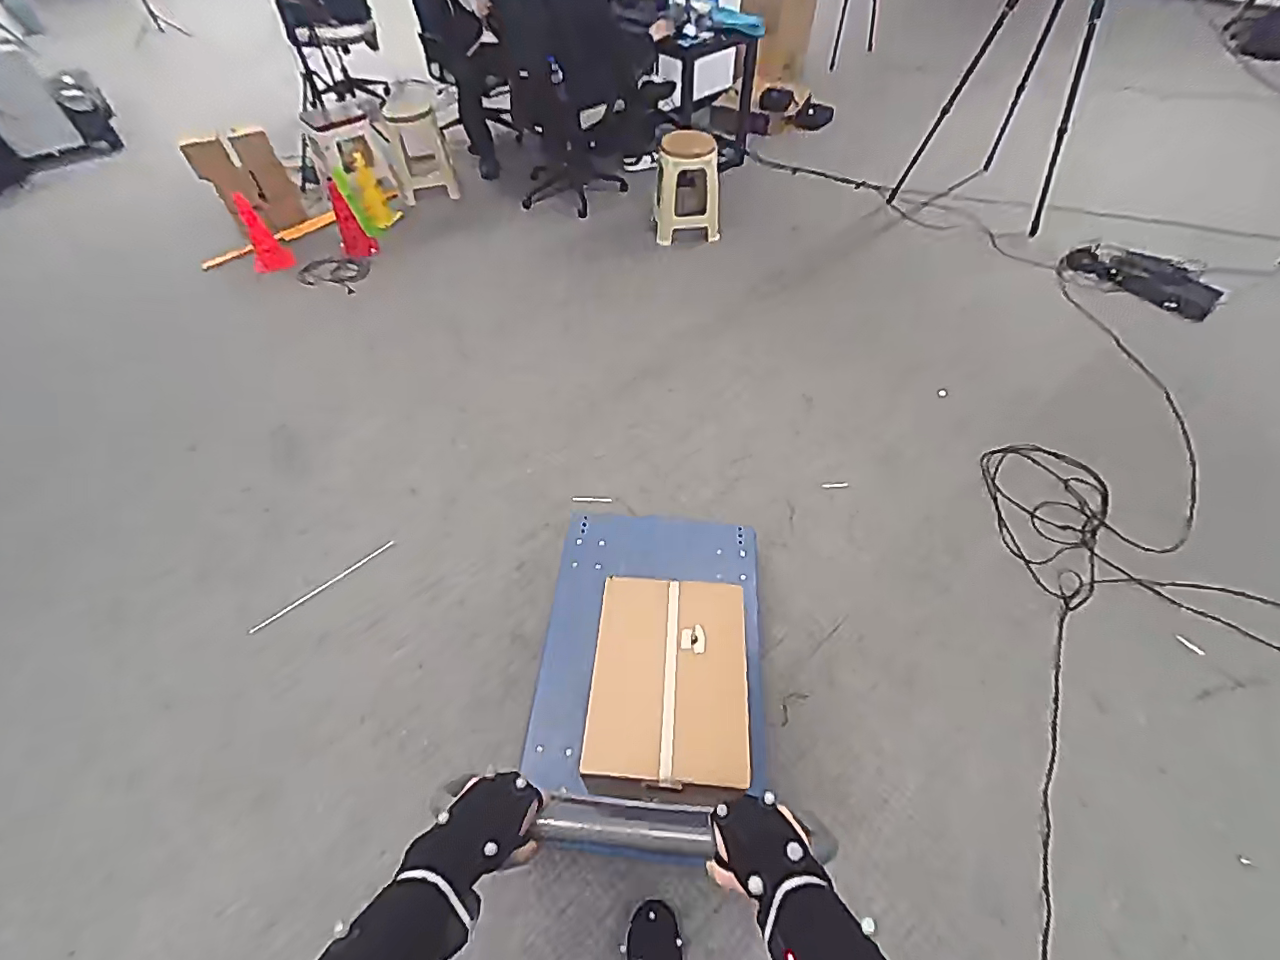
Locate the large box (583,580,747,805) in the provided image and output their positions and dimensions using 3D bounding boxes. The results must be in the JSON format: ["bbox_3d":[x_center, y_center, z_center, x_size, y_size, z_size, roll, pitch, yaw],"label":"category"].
[{"bbox_3d":[0.061,0.487,1.238,0.320,0.320,0.408,4,51,3],"label":"large box"}]
